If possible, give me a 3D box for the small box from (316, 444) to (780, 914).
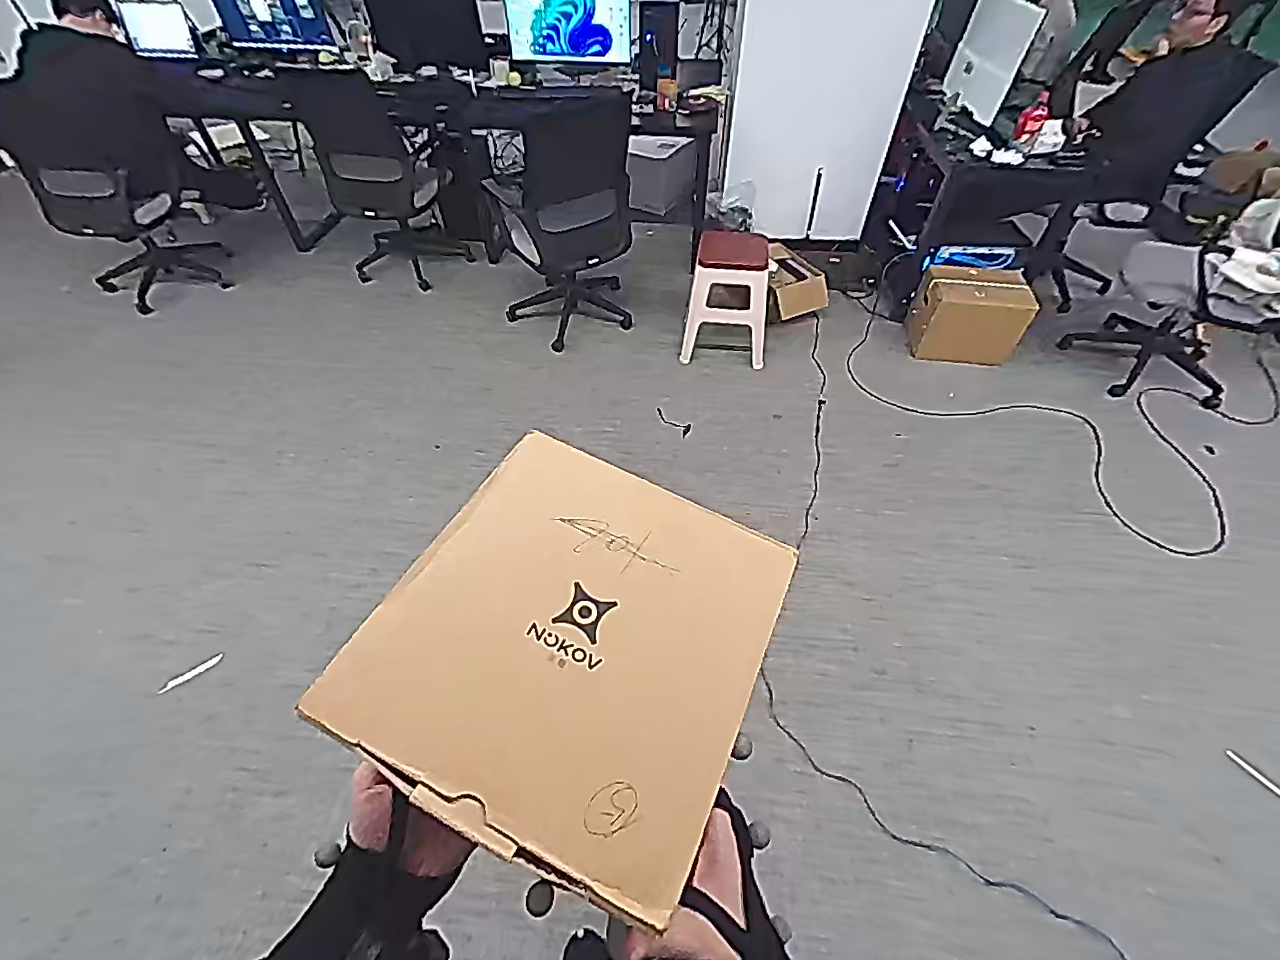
[{"bbox_3d":[-0.040,0.117,0.326,0.168,0.176,0.179,25,53,10],"label":"small box"}]
